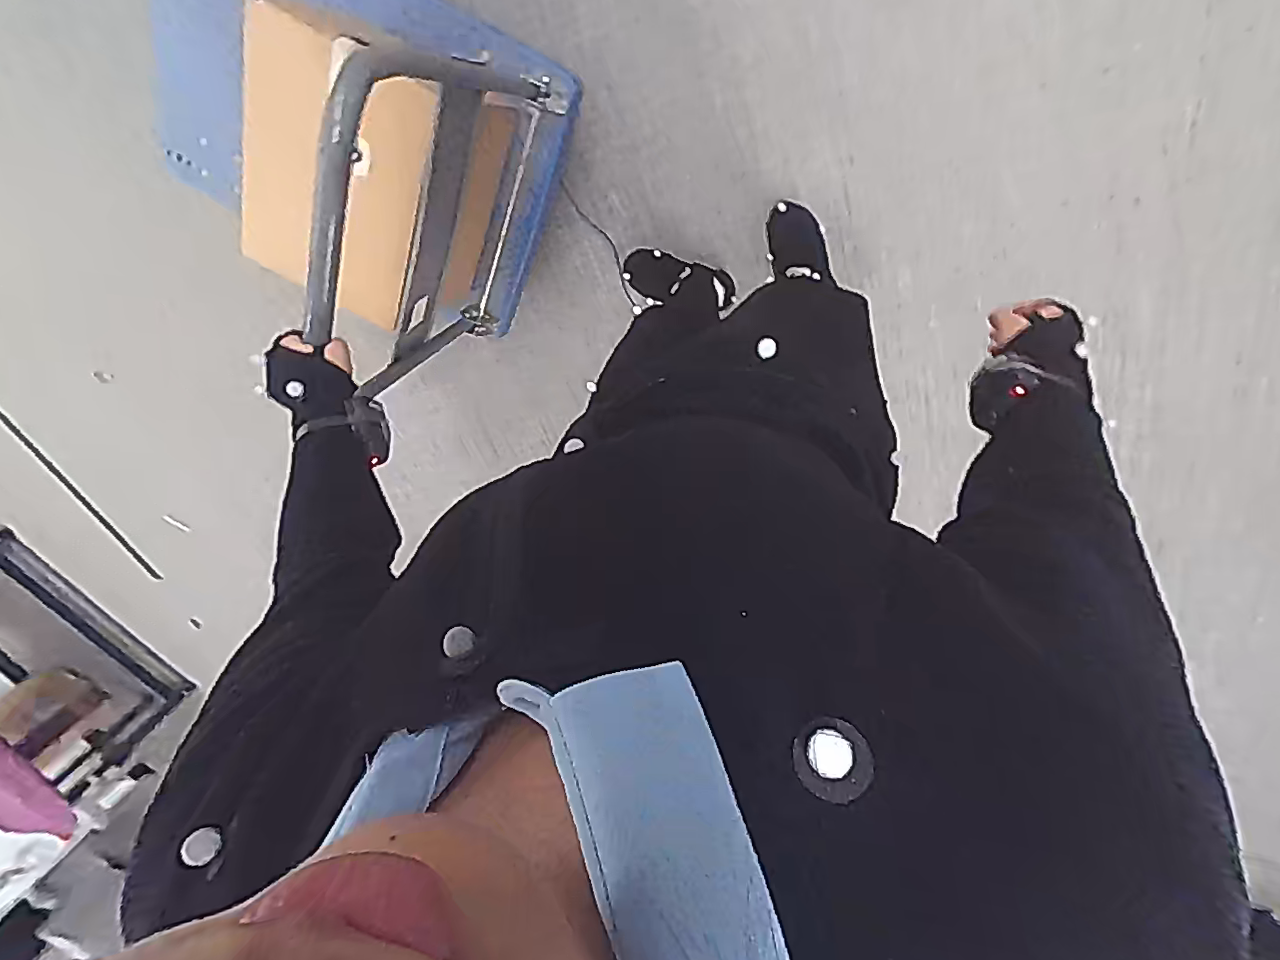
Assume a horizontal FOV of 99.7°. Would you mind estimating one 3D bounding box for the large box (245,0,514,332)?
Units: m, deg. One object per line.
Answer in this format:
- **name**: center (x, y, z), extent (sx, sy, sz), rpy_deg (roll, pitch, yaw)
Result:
- **large box**: center (-0.484, -0.562, 1.025), extent (0.320, 0.320, 0.408), rpy_deg (27, 123, -4)
